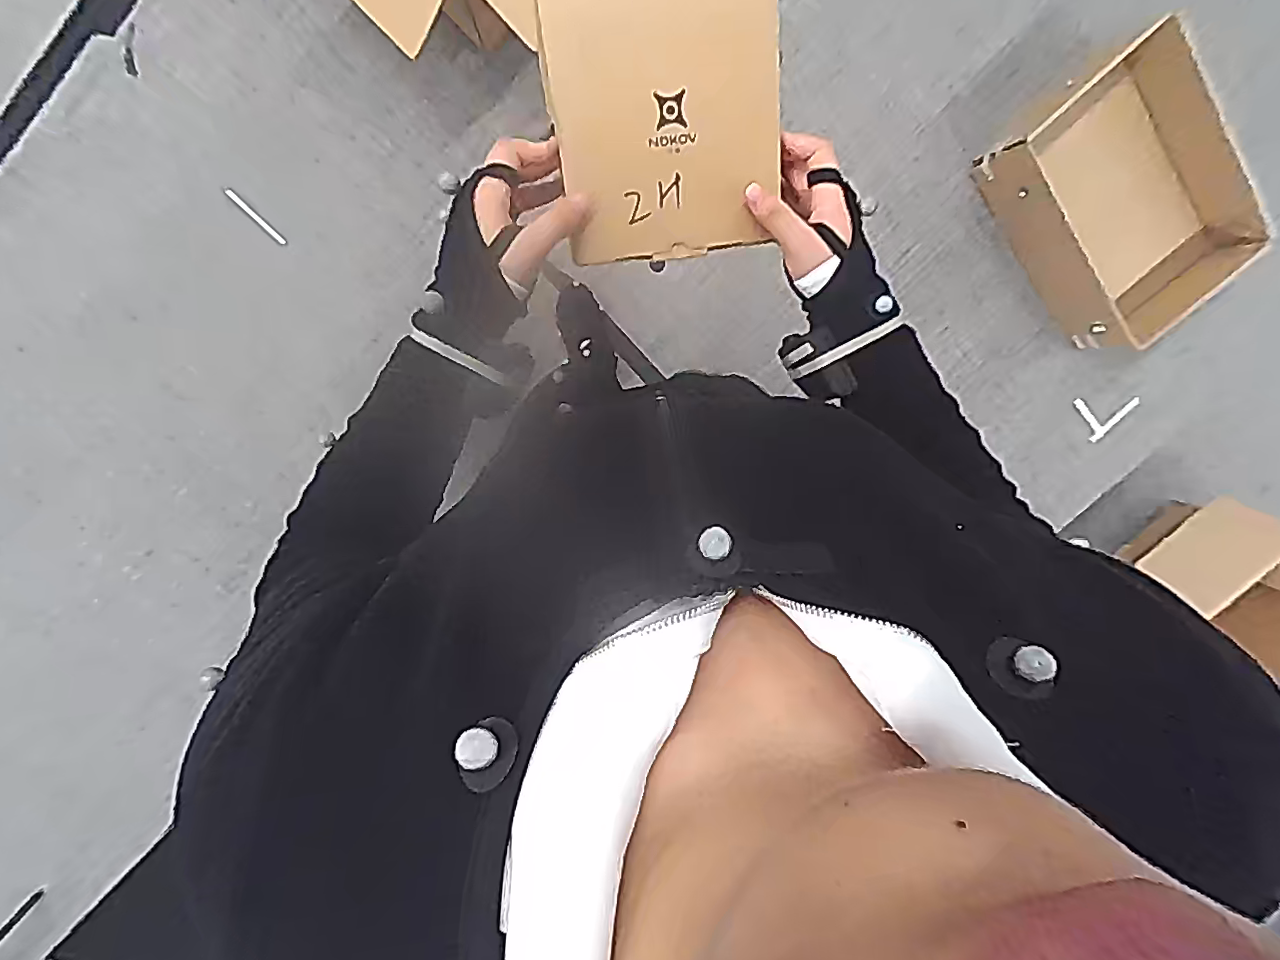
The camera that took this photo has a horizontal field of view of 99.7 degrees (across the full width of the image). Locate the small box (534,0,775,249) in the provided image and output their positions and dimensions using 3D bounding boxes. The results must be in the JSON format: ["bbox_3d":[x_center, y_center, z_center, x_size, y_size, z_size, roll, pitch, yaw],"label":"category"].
[{"bbox_3d":[0.005,-0.299,0.456,0.168,0.176,0.179,-9,113,-4],"label":"small box"}]
